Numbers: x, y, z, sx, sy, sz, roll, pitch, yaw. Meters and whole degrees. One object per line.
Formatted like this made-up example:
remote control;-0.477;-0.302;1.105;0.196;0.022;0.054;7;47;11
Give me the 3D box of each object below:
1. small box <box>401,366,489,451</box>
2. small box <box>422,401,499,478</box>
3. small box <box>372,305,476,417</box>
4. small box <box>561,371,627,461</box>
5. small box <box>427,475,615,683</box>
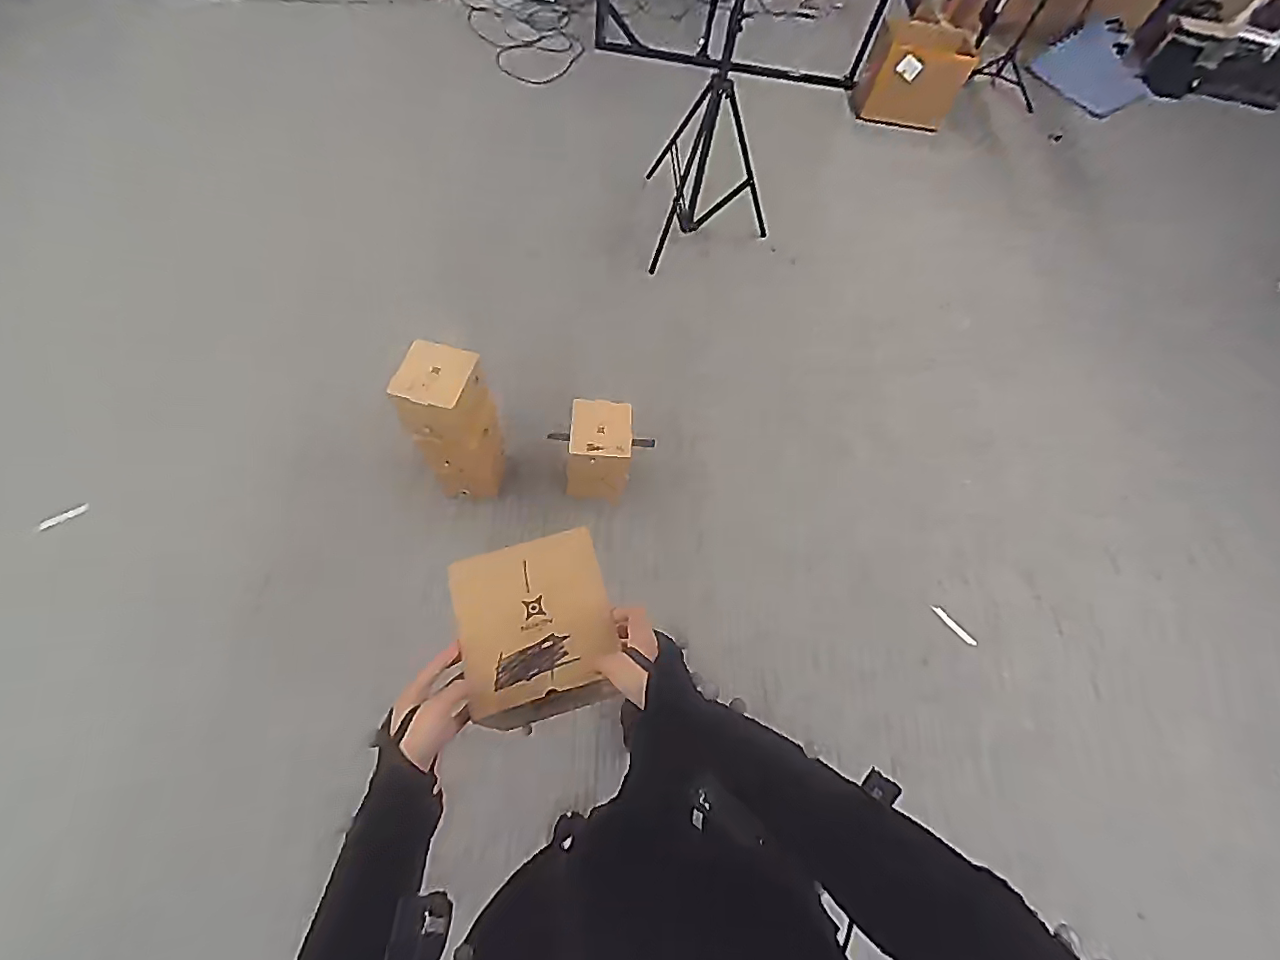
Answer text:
small box;-0.514;-0.202;1.457;0.168;0.176;0.179;10;64;-2
small box;-0.522;-0.126;1.598;0.168;0.176;0.179;7;63;-2
small box;-0.511;-0.285;1.313;0.168;0.176;0.179;15;63;1
small box;-0.130;-0.173;1.492;0.168;0.176;0.179;4;63;-6
small box;-0.127;0.123;0.623;0.168;0.176;0.179;-15;64;-9
